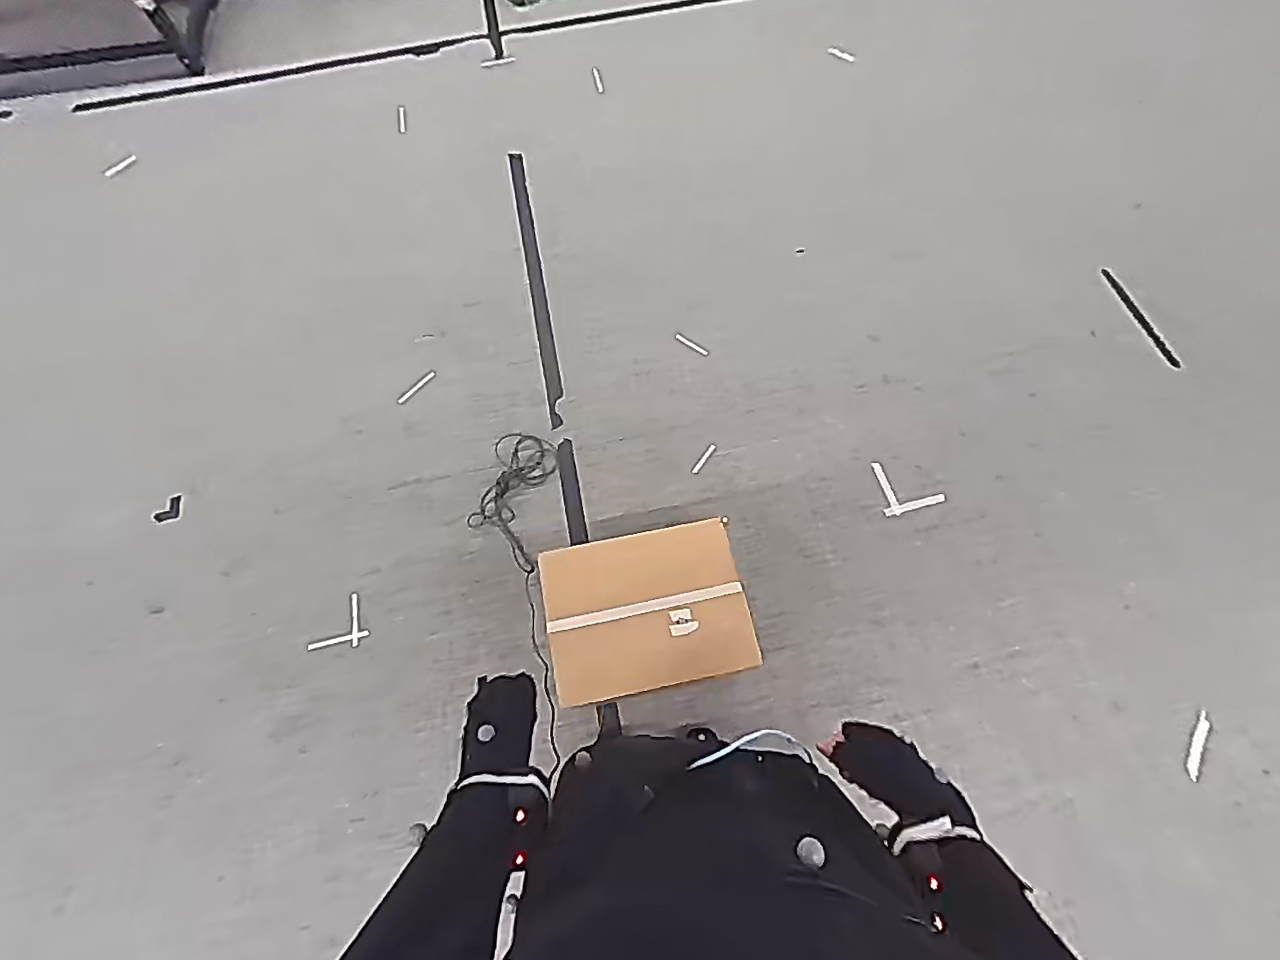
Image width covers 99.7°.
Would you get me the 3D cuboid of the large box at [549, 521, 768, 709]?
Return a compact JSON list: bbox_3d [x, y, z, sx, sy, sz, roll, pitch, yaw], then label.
[{"bbox_3d":[0.029,0.322,1.242,0.408,0.320,0.320,-10,68,-4],"label":"large box"}]
